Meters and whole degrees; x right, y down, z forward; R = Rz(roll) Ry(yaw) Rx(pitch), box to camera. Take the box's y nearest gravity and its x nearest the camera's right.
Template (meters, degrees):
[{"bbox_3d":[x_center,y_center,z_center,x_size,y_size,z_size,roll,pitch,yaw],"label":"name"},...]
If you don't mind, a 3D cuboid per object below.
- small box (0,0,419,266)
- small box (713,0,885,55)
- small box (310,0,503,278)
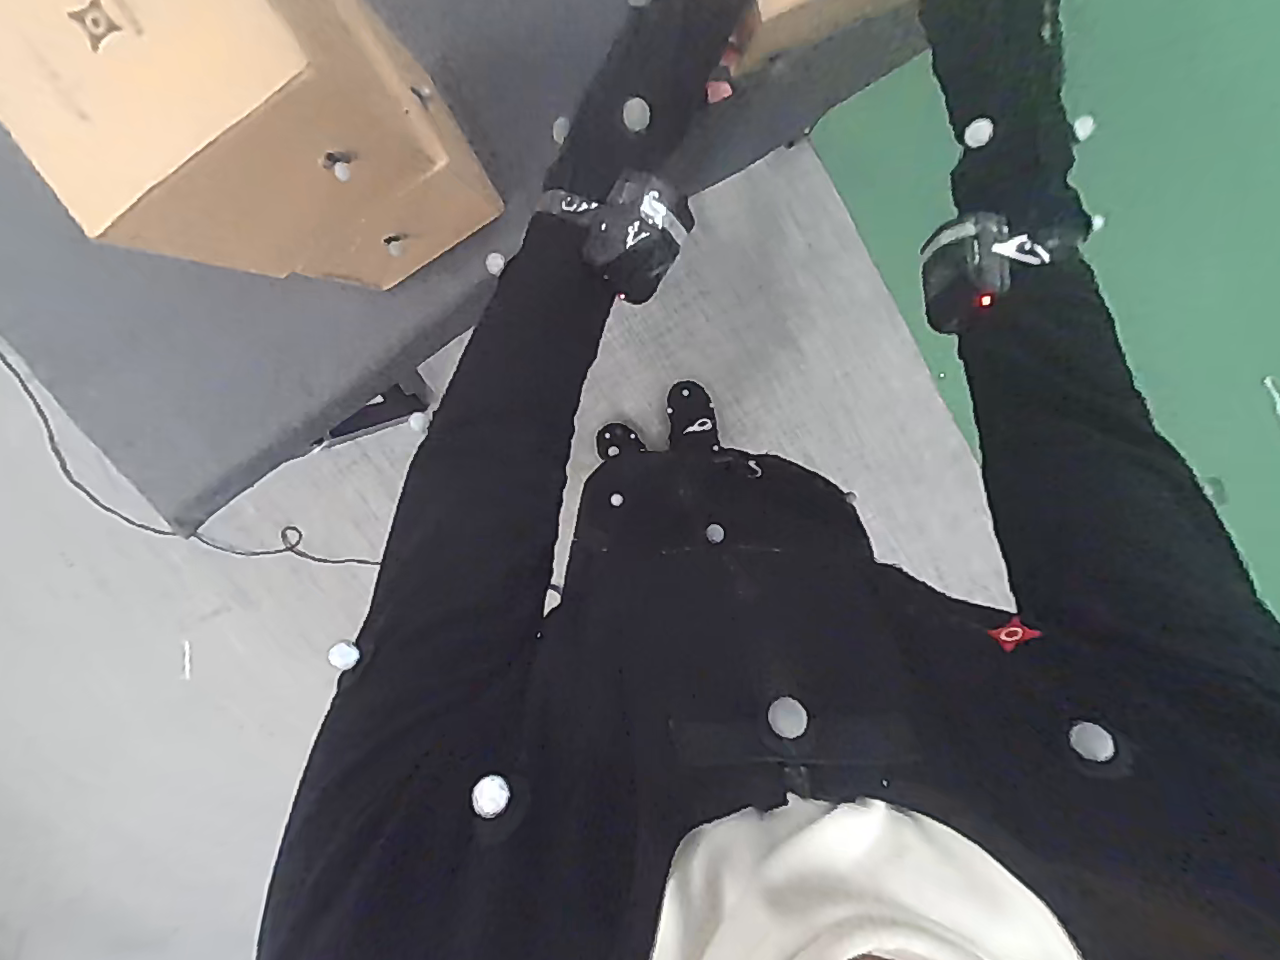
[{"bbox_3d":[-0.287,-0.279,0.382,0.179,0.176,0.168,-30,99,10],"label":"small box"},{"bbox_3d":[0.122,-0.418,0.353,0.168,0.176,0.179,-18,113,11],"label":"small box"},{"bbox_3d":[-0.268,-0.323,0.538,0.179,0.176,0.168,-28,100,9],"label":"small box"}]
